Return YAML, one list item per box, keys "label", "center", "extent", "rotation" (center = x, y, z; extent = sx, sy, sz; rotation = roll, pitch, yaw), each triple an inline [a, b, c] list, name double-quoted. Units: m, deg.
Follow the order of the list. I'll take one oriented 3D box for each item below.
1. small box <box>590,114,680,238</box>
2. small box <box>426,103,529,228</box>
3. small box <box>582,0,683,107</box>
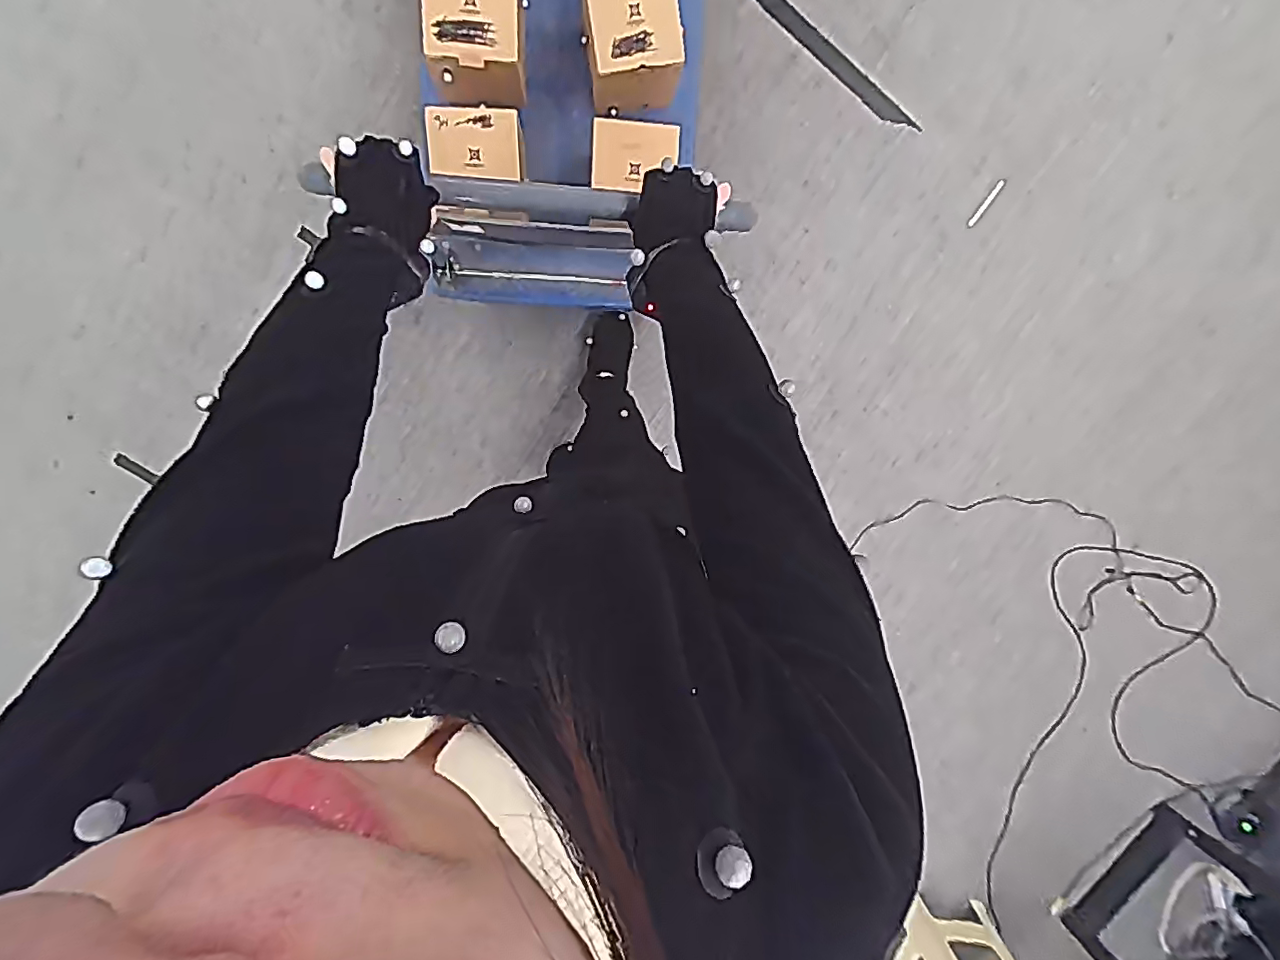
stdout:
- label: "small box"
  center: [-0.018, -0.611, 1.110]
  extent: [0.168, 0.176, 0.179]
  rotation: [2, 101, -7]
- label: "small box"
  center: [-0.313, -0.613, 1.075]
  extent: [0.168, 0.176, 0.179]
  rotation: [-2, 102, -6]
- label: "small box"
  center: [-0.019, -0.863, 1.058]
  extent: [0.168, 0.176, 0.179]
  rotation: [-10, 101, -4]
